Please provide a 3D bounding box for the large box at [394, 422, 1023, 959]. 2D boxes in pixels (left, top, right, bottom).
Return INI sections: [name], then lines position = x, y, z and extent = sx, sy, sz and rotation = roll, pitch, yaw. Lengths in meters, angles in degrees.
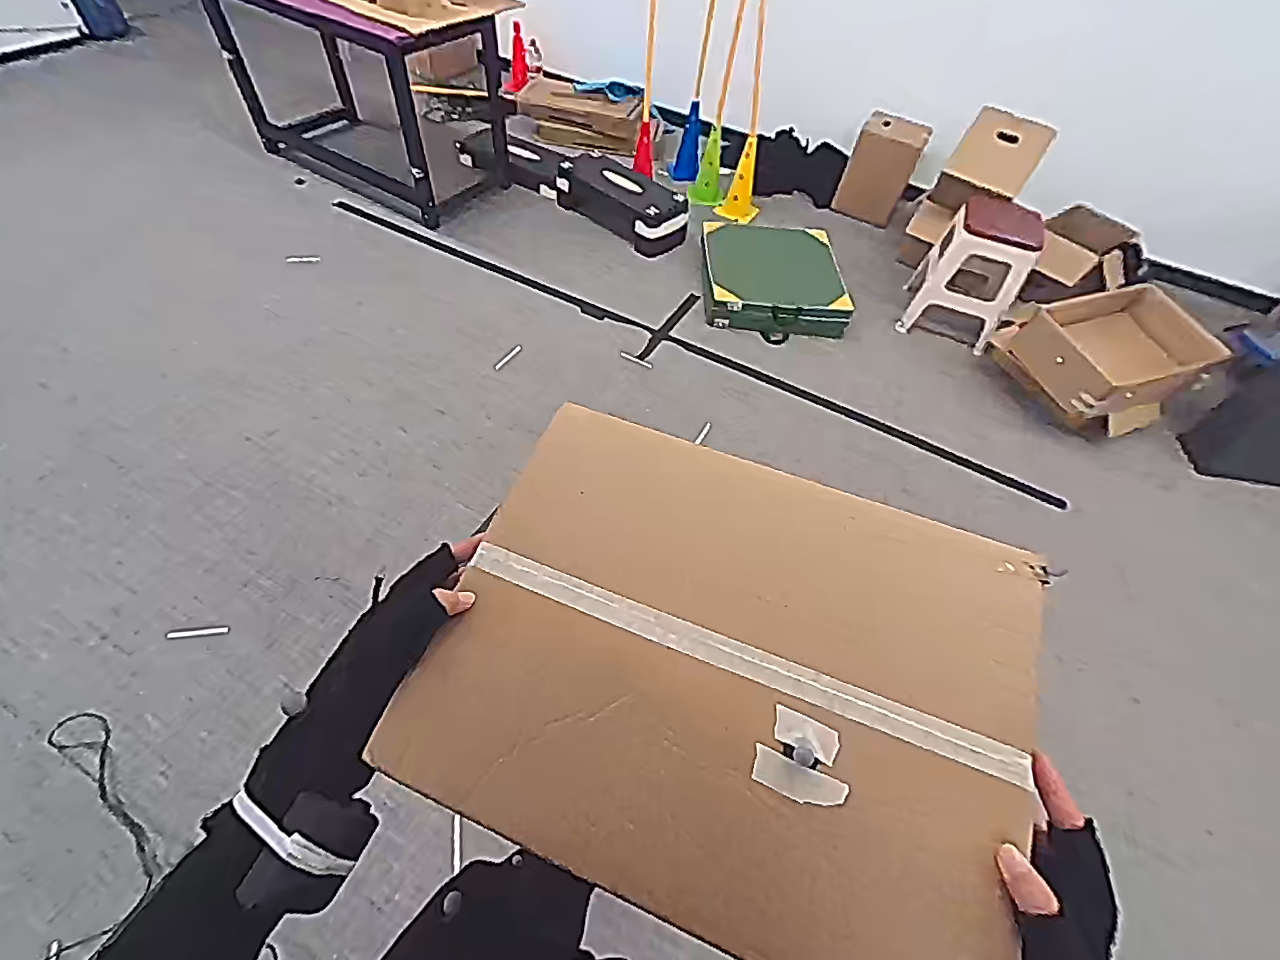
[large box]
position = 0.067, 0.200, 0.533
extent = 0.408, 0.320, 0.320
rotation = 20, 64, 12
